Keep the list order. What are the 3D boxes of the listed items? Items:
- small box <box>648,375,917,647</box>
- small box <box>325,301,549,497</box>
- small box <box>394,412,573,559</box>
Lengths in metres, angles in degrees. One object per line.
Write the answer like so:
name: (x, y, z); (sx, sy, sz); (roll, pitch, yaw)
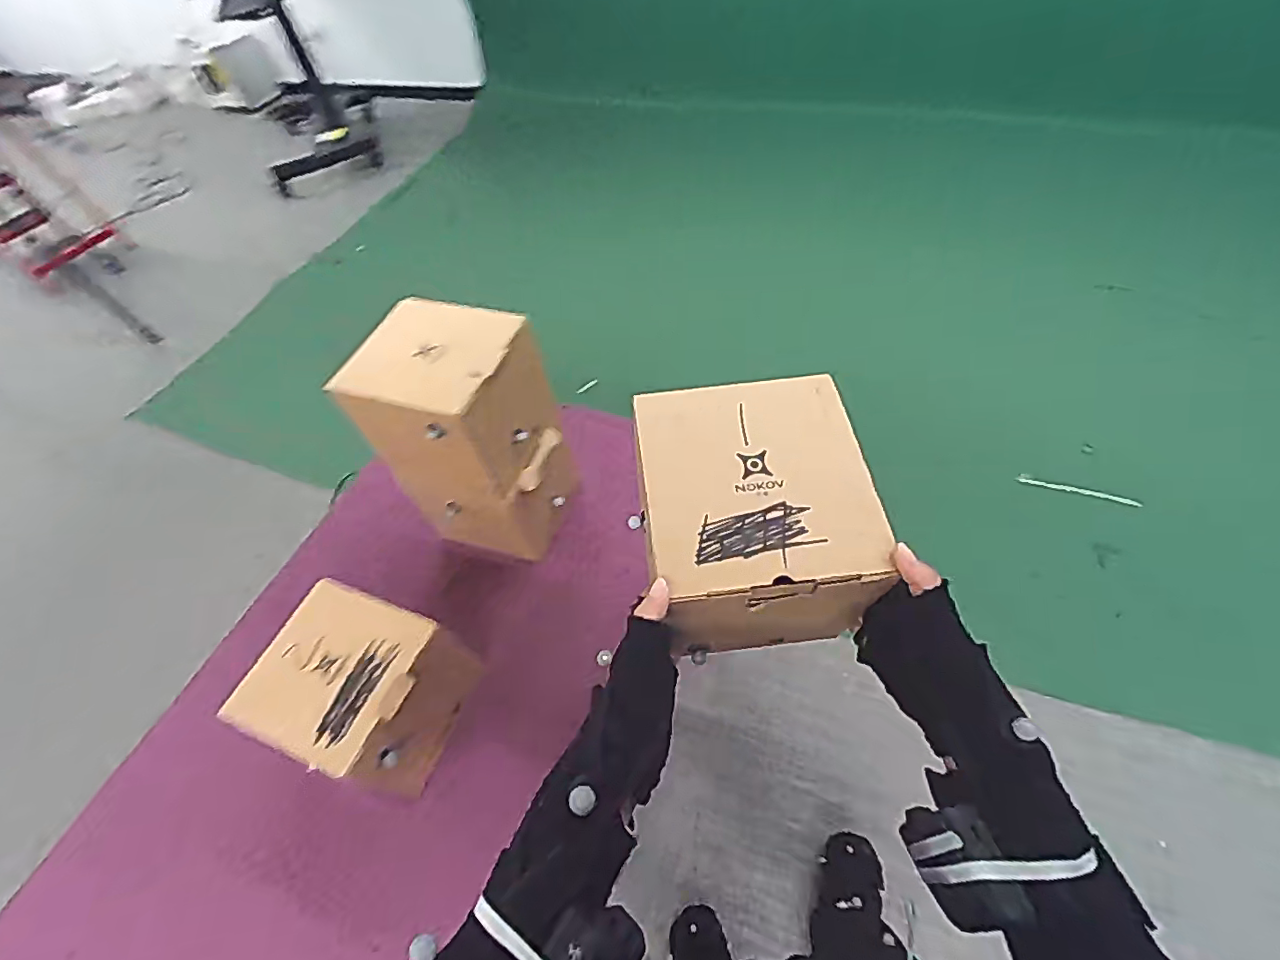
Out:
small box: (0.098, 0.037, 0.463); (0.168, 0.176, 0.179); (-5, 60, -2)
small box: (-0.237, -0.098, 0.683); (0.179, 0.176, 0.168); (12, 57, 14)
small box: (-0.220, -0.001, 0.812); (0.179, 0.176, 0.168); (12, 58, 14)
